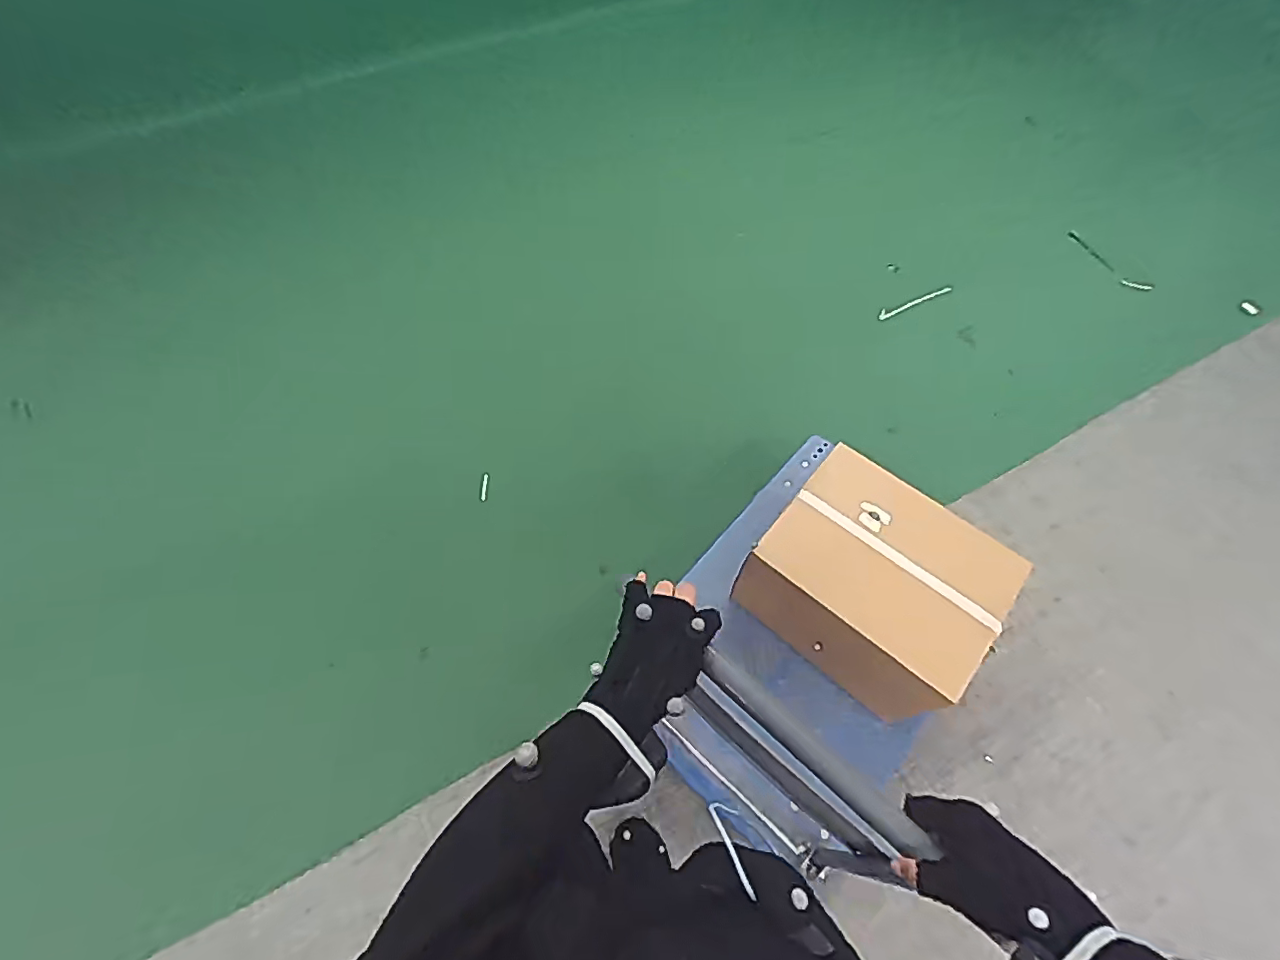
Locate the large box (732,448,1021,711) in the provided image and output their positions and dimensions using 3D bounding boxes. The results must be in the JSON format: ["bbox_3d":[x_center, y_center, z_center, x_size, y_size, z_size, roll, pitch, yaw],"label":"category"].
[{"bbox_3d":[0.455,0.214,1.127,0.408,0.320,0.320,37,68,19],"label":"large box"}]
